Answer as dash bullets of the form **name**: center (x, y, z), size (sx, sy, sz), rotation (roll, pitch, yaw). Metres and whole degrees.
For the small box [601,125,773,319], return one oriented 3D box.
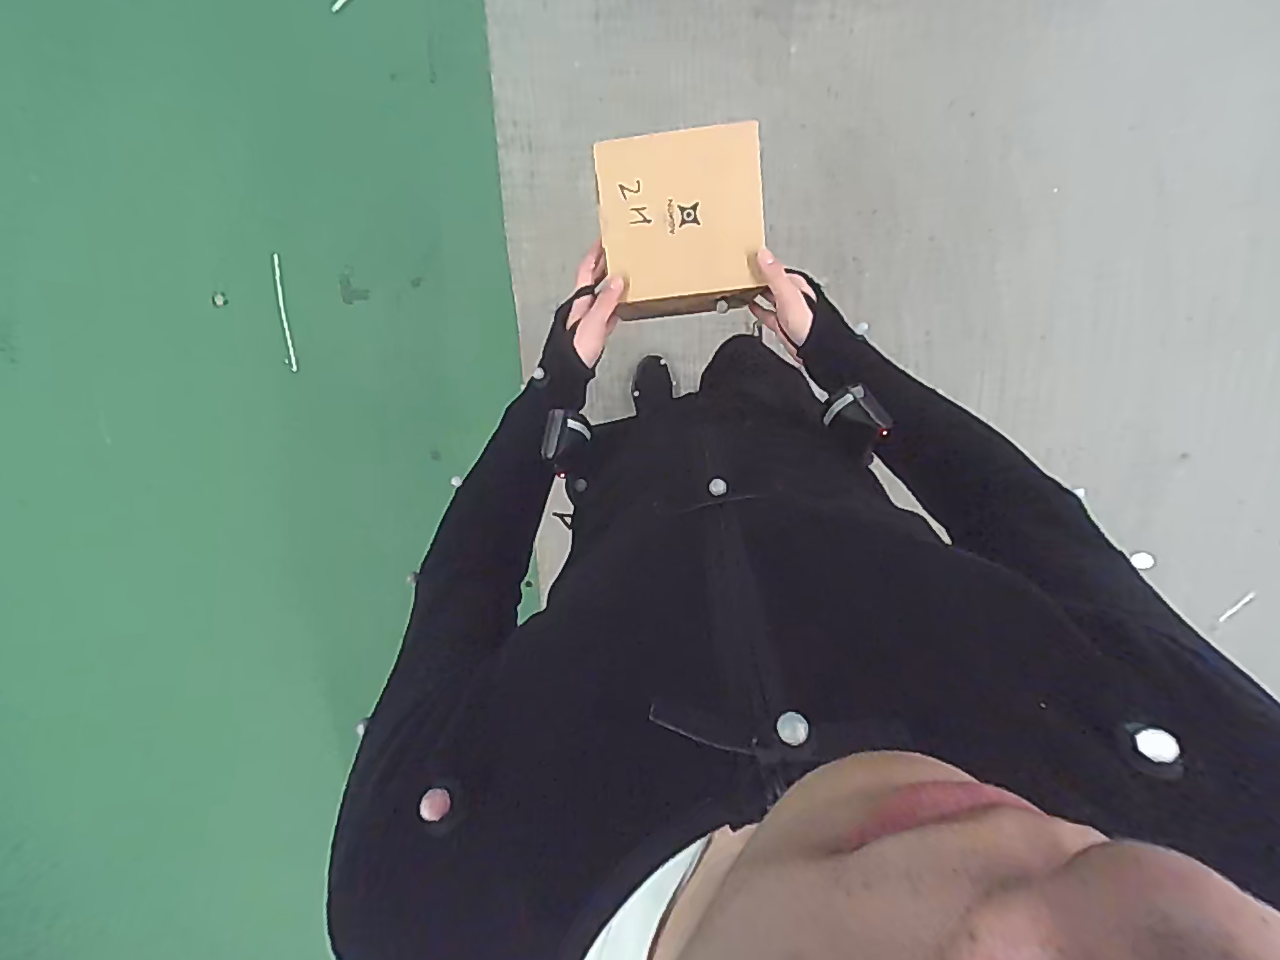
- **small box**: center (0.054, -0.292, 0.649), size (0.179, 0.176, 0.168), rotation (-5, 100, 4)

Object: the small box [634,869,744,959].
- **small box**: center (0.085, 0.862, 0.999), size (0.179, 0.176, 0.168), rotation (6, 103, -1)
